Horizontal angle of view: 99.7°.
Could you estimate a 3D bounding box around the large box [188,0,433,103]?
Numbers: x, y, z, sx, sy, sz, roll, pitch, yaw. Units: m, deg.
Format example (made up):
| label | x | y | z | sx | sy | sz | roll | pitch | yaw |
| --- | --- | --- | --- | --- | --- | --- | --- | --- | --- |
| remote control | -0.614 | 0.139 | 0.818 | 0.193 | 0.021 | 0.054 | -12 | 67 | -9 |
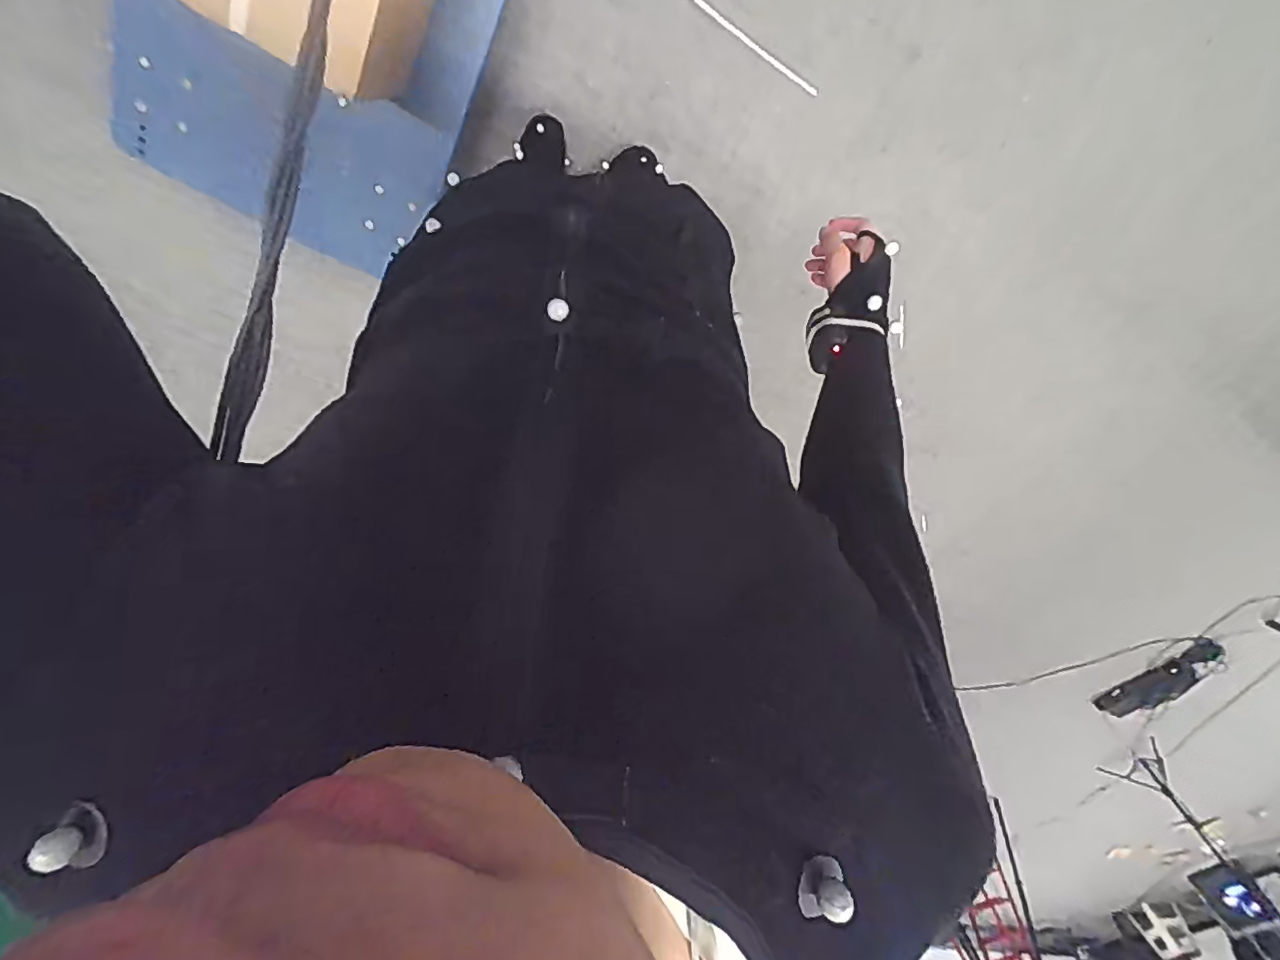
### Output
| label | x | y | z | sx | sy | sz | roll | pitch | yaw |
| --- | --- | --- | --- | --- | --- | --- | --- | --- | --- |
| large box | -0.470 | -0.864 | 0.791 | 0.320 | 0.320 | 0.408 | 24 | 122 | -22 |
